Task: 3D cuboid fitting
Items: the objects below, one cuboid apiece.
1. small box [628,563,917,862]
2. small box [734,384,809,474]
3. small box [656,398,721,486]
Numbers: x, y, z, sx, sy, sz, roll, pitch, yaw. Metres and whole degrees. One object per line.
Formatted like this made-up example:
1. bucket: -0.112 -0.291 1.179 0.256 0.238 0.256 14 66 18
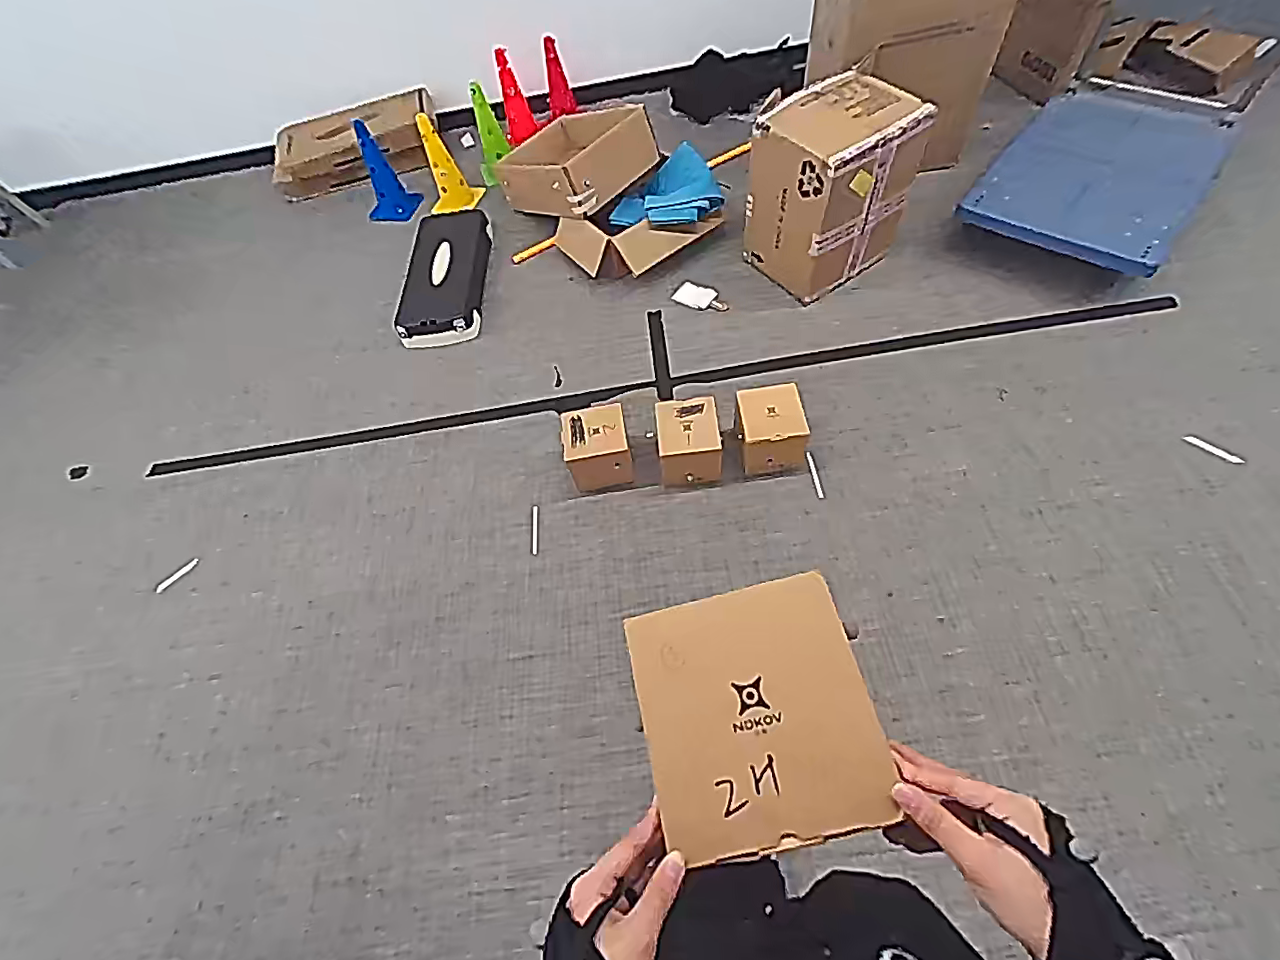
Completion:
1. small box: 0.098 0.194 0.459 0.168 0.176 0.179 -16 62 5
2. small box: 0.358 -0.139 1.507 0.168 0.176 0.179 -8 59 3
3. small box: 0.134 -0.104 1.512 0.168 0.176 0.179 -6 60 4
